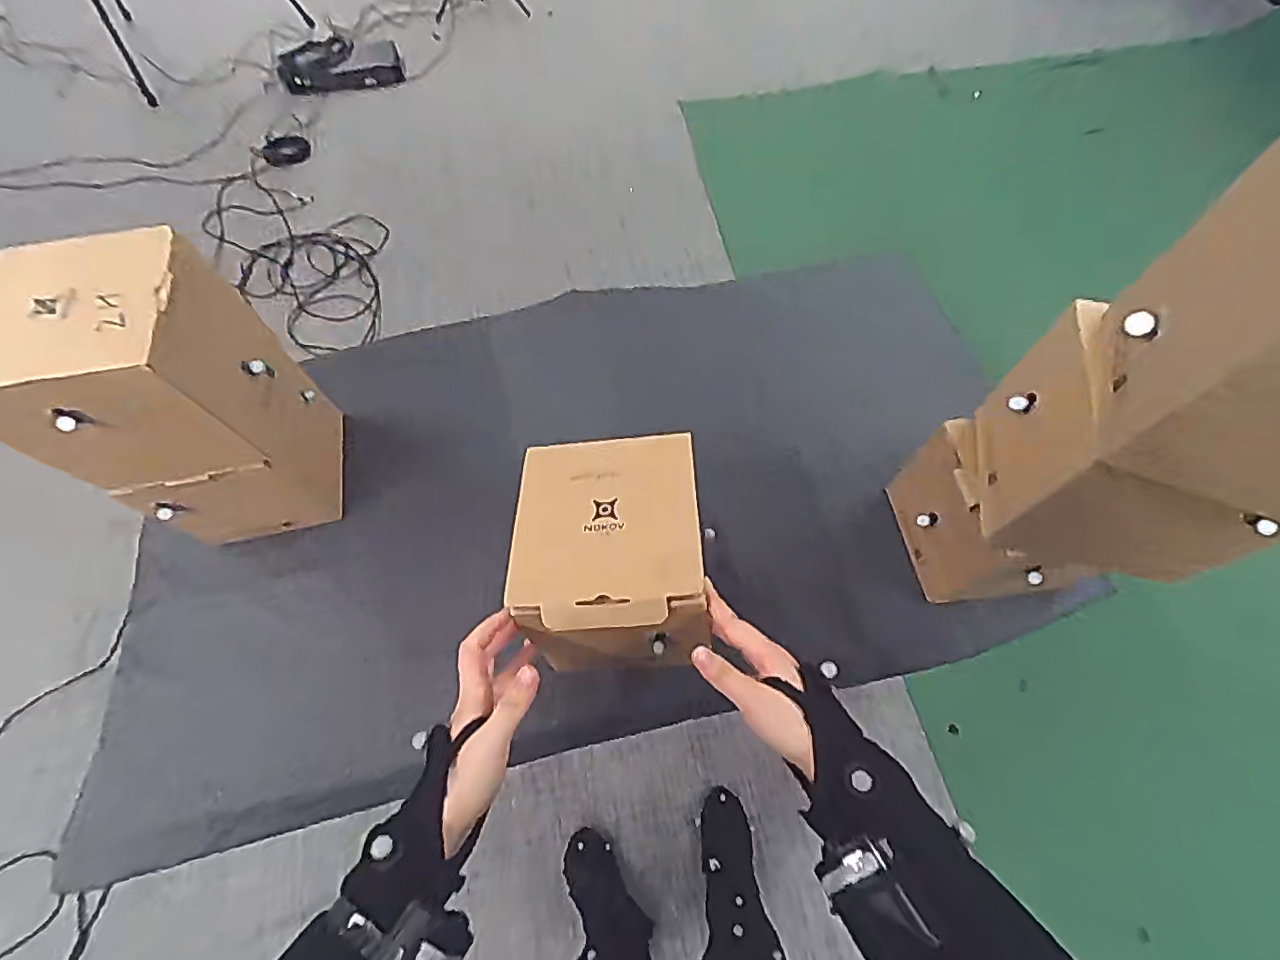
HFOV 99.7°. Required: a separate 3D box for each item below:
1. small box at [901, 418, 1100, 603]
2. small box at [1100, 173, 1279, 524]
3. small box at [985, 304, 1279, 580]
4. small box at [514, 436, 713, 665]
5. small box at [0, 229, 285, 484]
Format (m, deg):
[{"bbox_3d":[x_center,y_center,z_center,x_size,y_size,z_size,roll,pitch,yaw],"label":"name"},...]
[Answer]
[{"bbox_3d":[0.434,0.037,0.635,0.179,0.176,0.168,-7,62,-2],"label":"small box"},{"bbox_3d":[0.437,-0.080,0.326,0.179,0.176,0.168,22,64,12],"label":"small box"},{"bbox_3d":[0.437,-0.025,0.483,0.179,0.176,0.168,13,63,7],"label":"small box"},{"bbox_3d":[-0.016,0.081,0.548,0.168,0.176,0.179,-5,55,5],"label":"small box"},{"bbox_3d":[-0.493,-0.110,0.533,0.179,0.176,0.168,-11,66,-5],"label":"small box"}]
